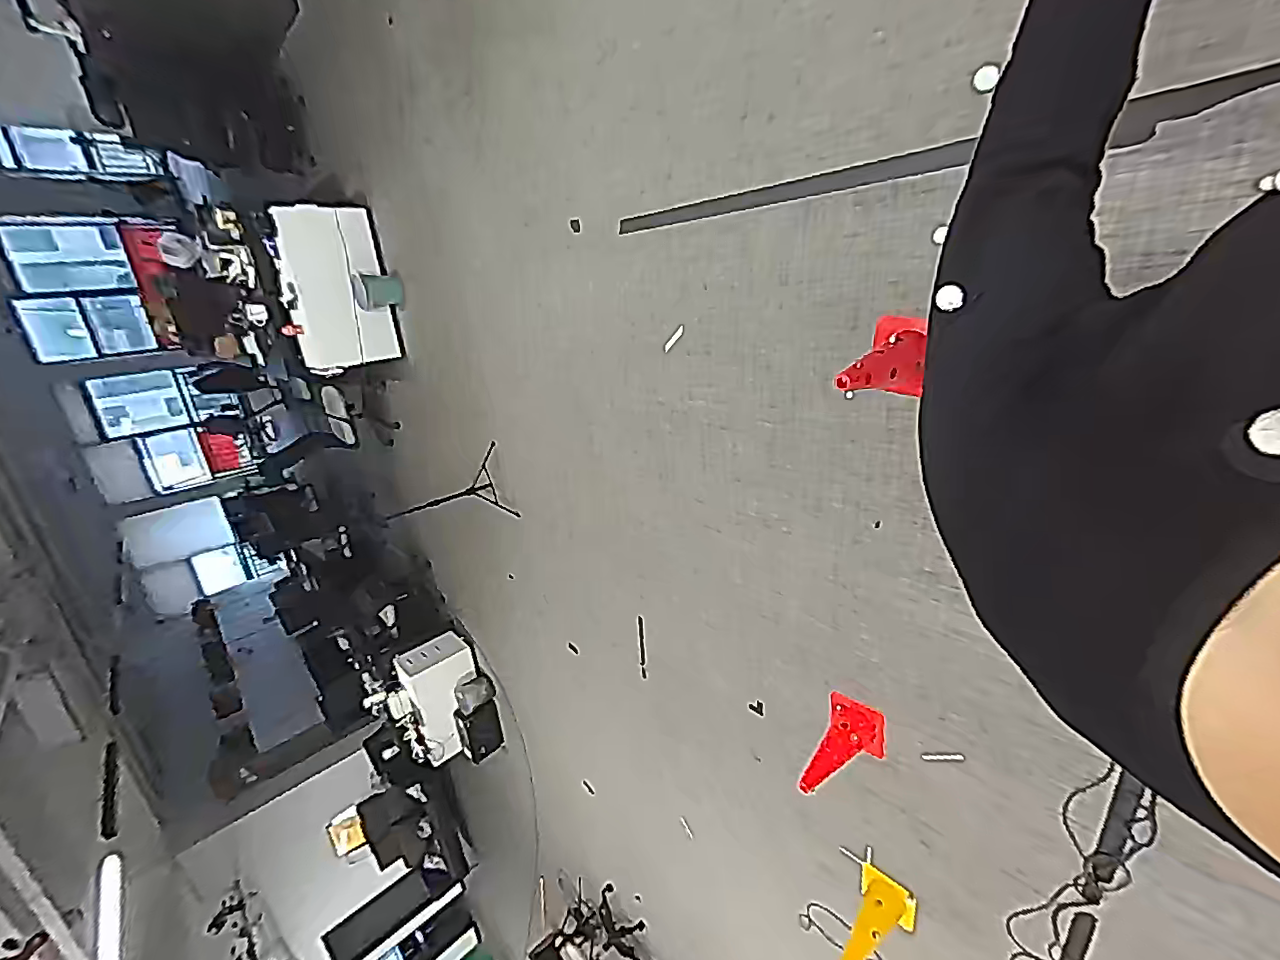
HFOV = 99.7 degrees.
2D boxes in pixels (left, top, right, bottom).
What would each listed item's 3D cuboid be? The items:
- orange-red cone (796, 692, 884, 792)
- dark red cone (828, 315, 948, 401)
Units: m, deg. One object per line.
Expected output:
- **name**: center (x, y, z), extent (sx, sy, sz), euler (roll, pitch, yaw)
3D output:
- **orange-red cone**: center (0.643, 0.921, 1.818), extent (0.198, 0.360, 0.199), euler (14, 119, 47)
- **dark red cone**: center (0.564, -0.271, 1.302), extent (0.201, 0.394, 0.202), euler (23, 124, 41)
